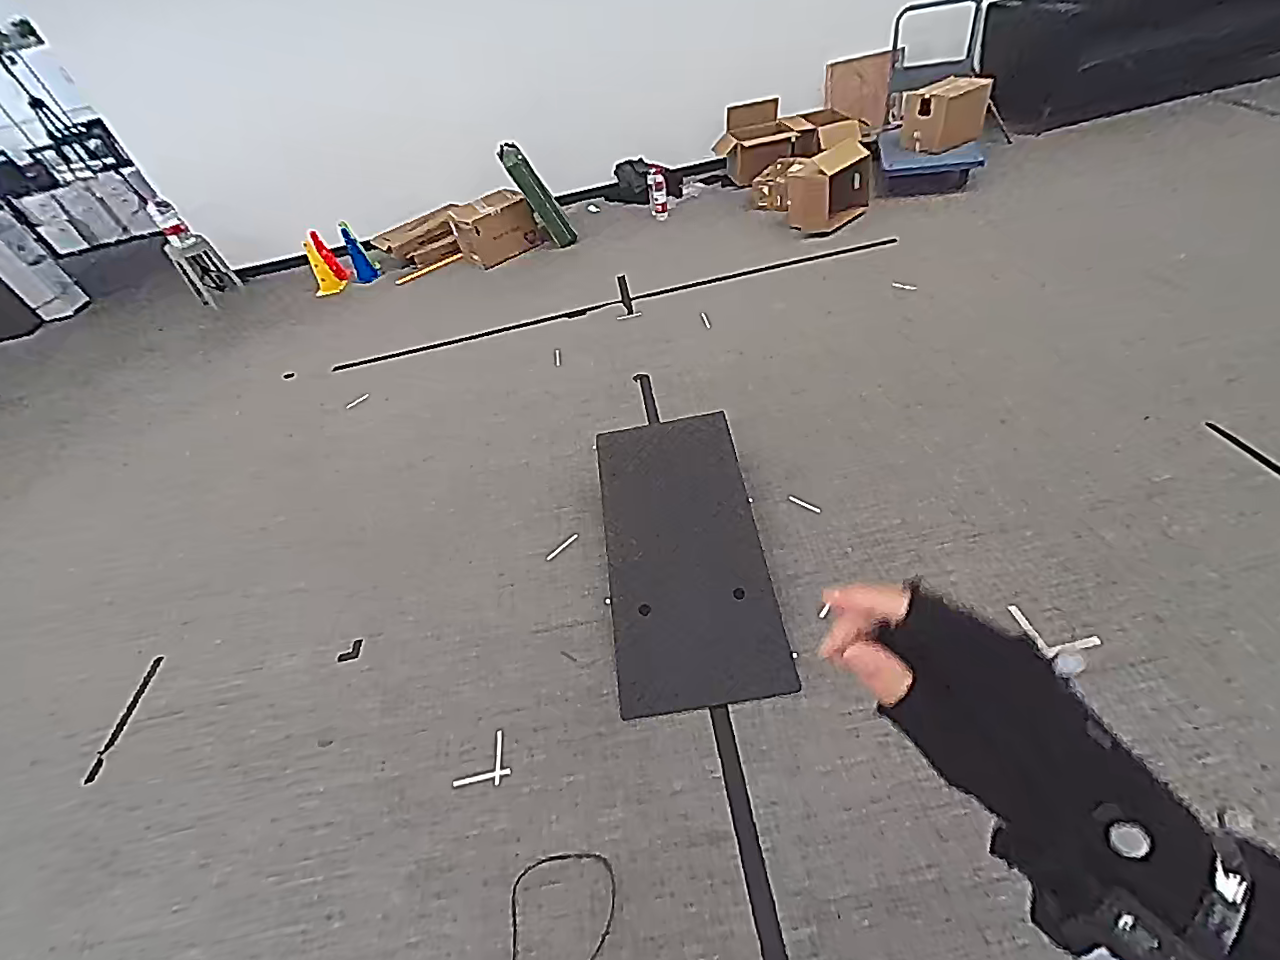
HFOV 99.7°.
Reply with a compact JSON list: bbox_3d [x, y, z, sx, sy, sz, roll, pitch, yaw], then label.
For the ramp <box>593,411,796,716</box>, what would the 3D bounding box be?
[{"bbox_3d":[0.126,0.194,1.738,0.509,0.206,0.991,-11,45,1],"label":"ramp"}]
